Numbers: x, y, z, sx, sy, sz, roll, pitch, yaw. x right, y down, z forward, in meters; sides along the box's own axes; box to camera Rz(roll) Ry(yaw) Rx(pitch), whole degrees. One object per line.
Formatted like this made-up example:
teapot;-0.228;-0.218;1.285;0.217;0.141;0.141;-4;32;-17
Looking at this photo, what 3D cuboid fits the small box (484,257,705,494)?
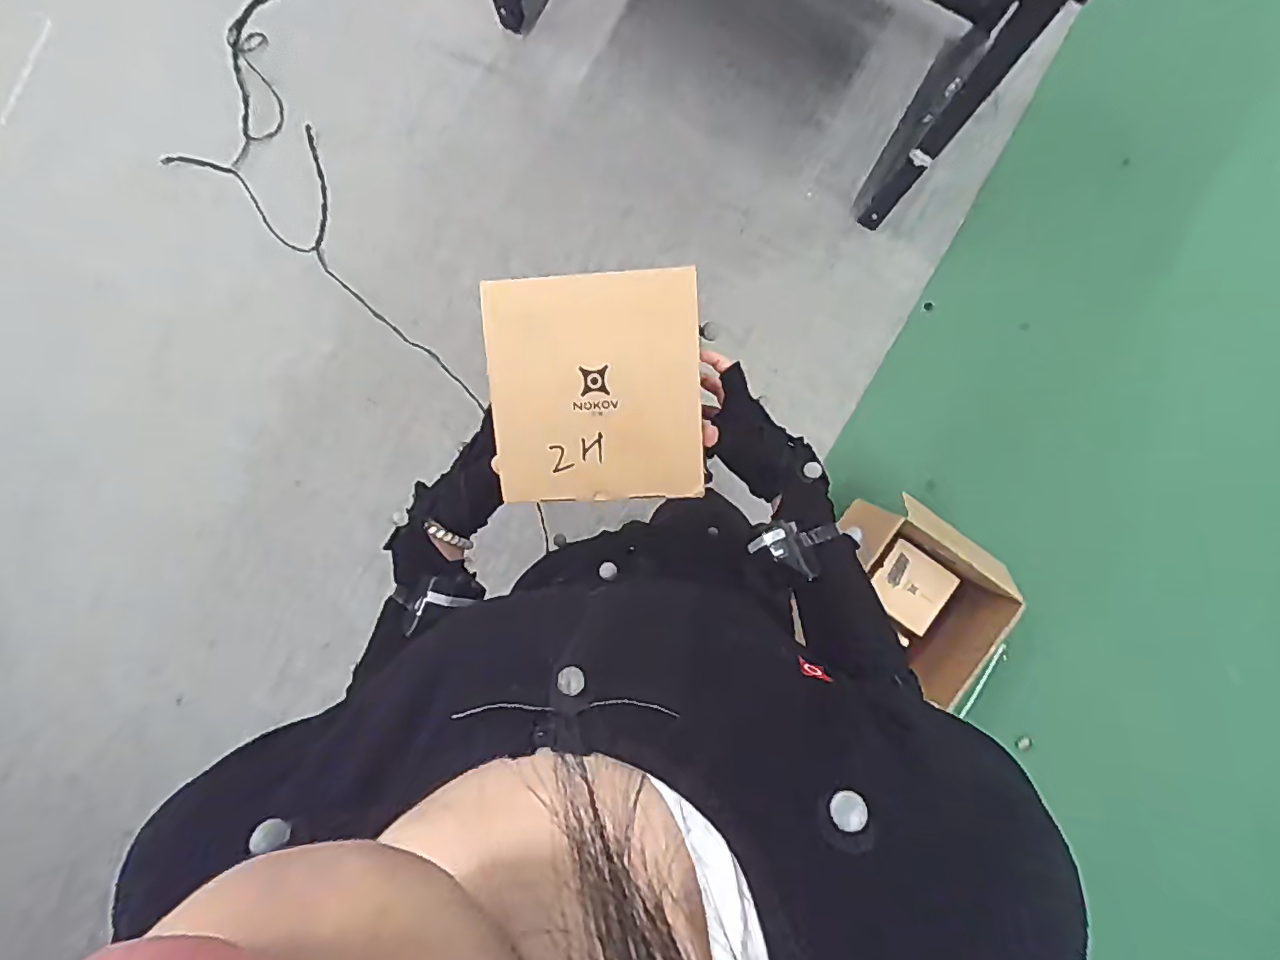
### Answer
small box;-0.028;-0.090;0.493;0.168;0.176;0.179;-2;101;6
